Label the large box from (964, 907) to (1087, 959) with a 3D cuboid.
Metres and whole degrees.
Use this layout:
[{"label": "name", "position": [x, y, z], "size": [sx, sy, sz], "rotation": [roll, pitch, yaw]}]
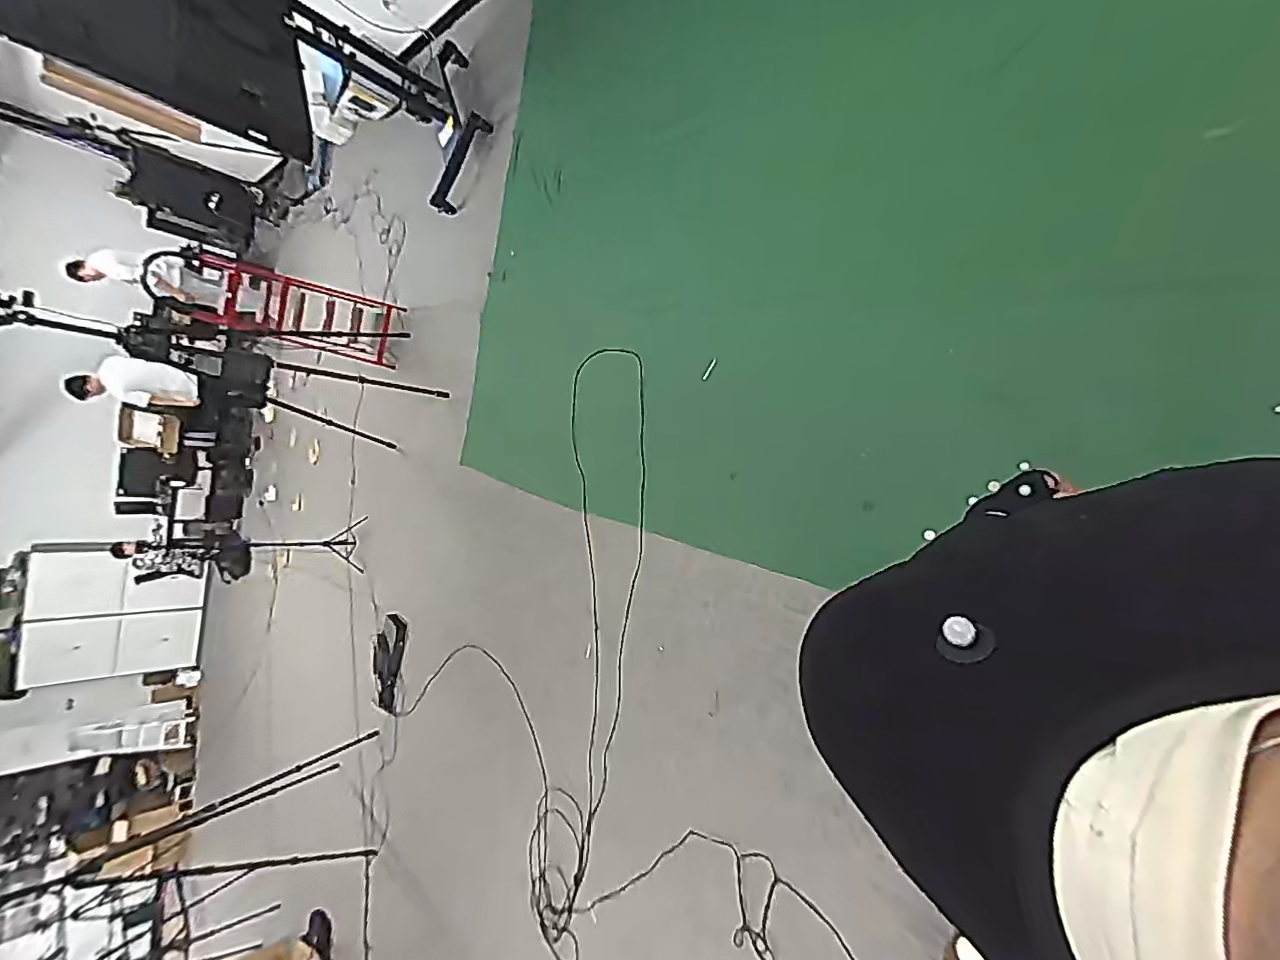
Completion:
[{"label": "large box", "position": [0.906, 1.234, 1.135], "size": [0.408, 0.320, 0.320], "rotation": [11, 93, 43]}]
